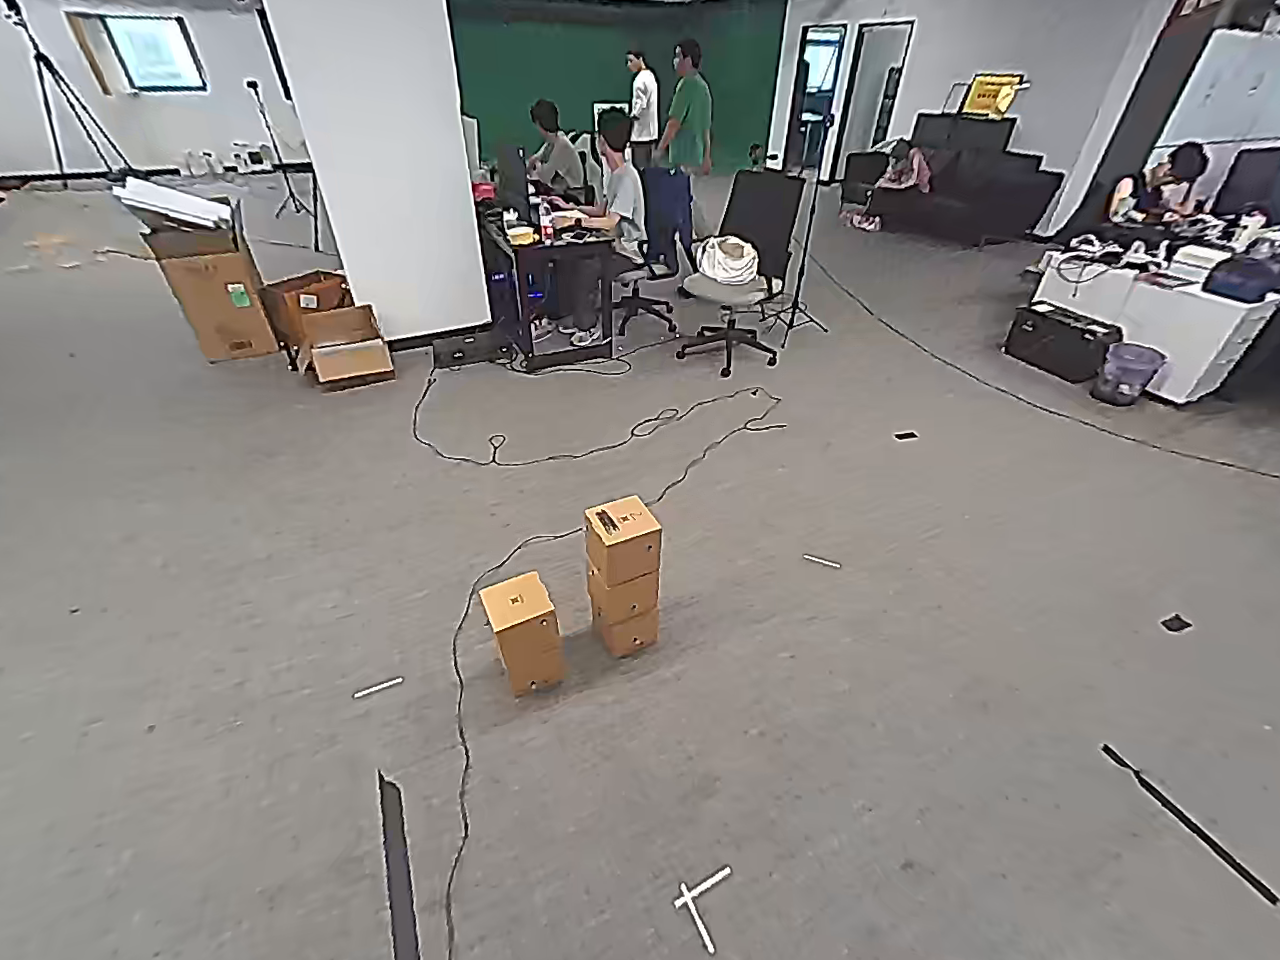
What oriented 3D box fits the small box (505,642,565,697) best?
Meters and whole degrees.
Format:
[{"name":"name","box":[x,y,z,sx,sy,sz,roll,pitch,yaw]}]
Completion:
[{"name":"small box","box":[-0.338,0.531,1.673,0.168,0.176,0.179,-15,41,-19]}]

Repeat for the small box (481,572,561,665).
[{"name":"small box","box":[-0.343,0.405,1.571,0.179,0.176,0.168,-17,41,-22]}]

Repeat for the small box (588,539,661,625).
[{"name":"small box","box":[-0.053,0.317,1.685,0.179,0.176,0.168,-16,40,-23]}]

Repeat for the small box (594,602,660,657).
[{"name":"small box","box":[-0.049,0.447,1.786,0.168,0.176,0.179,-17,41,-22]}]
